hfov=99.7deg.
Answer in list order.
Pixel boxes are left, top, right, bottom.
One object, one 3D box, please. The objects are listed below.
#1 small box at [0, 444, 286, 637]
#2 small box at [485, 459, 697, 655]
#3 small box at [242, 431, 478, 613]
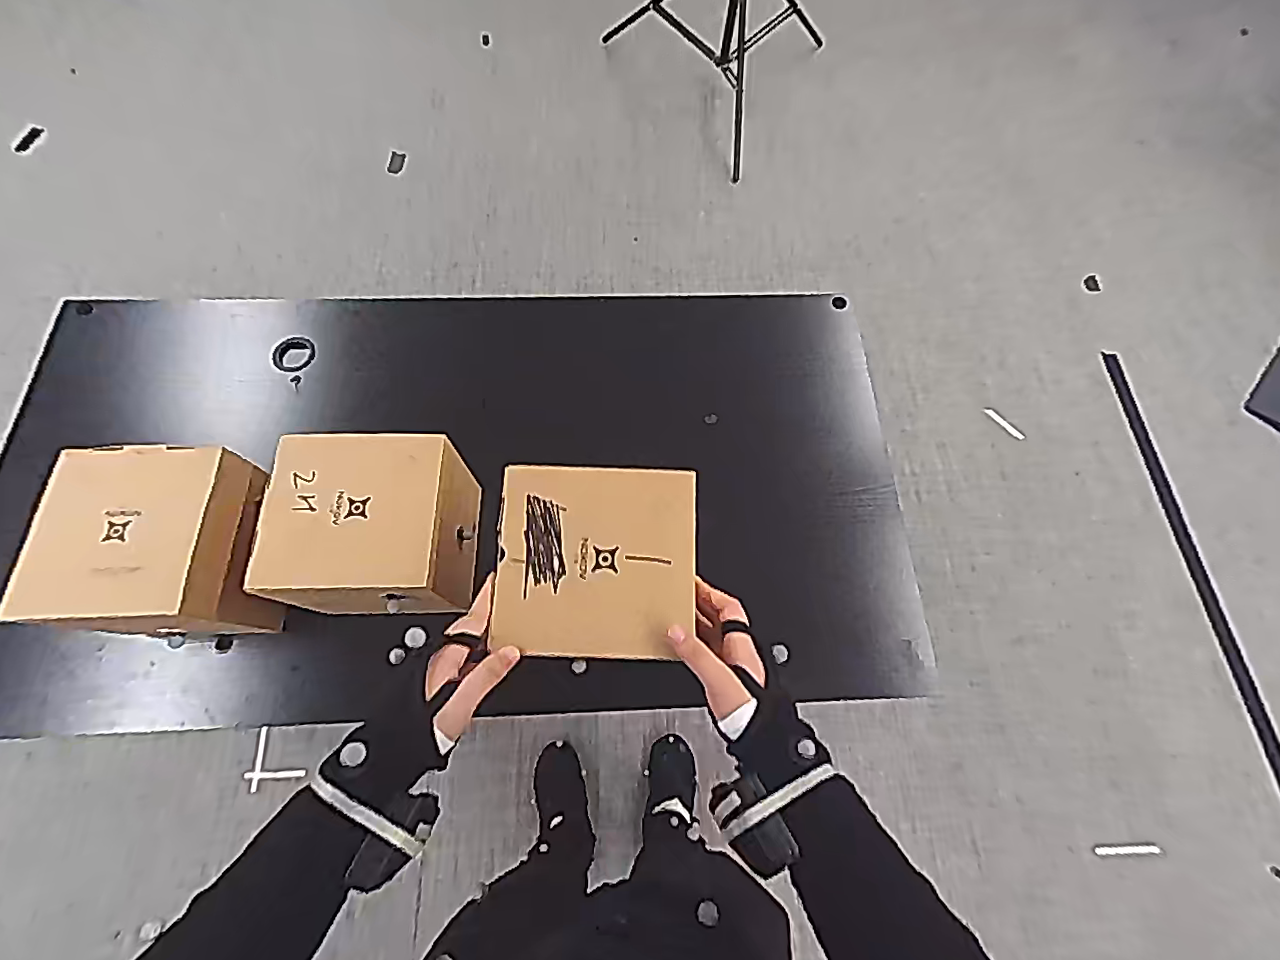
[{"bbox_3d":[-0.511,0.074,0.600,0.168,0.176,0.179,-2,69,-2],"label":"small box"},{"bbox_3d":[-0.037,0.086,0.540,0.179,0.176,0.168,2,72,0],"label":"small box"},{"bbox_3d":[-0.292,0.055,0.614,0.179,0.176,0.168,0,68,-2],"label":"small box"}]
